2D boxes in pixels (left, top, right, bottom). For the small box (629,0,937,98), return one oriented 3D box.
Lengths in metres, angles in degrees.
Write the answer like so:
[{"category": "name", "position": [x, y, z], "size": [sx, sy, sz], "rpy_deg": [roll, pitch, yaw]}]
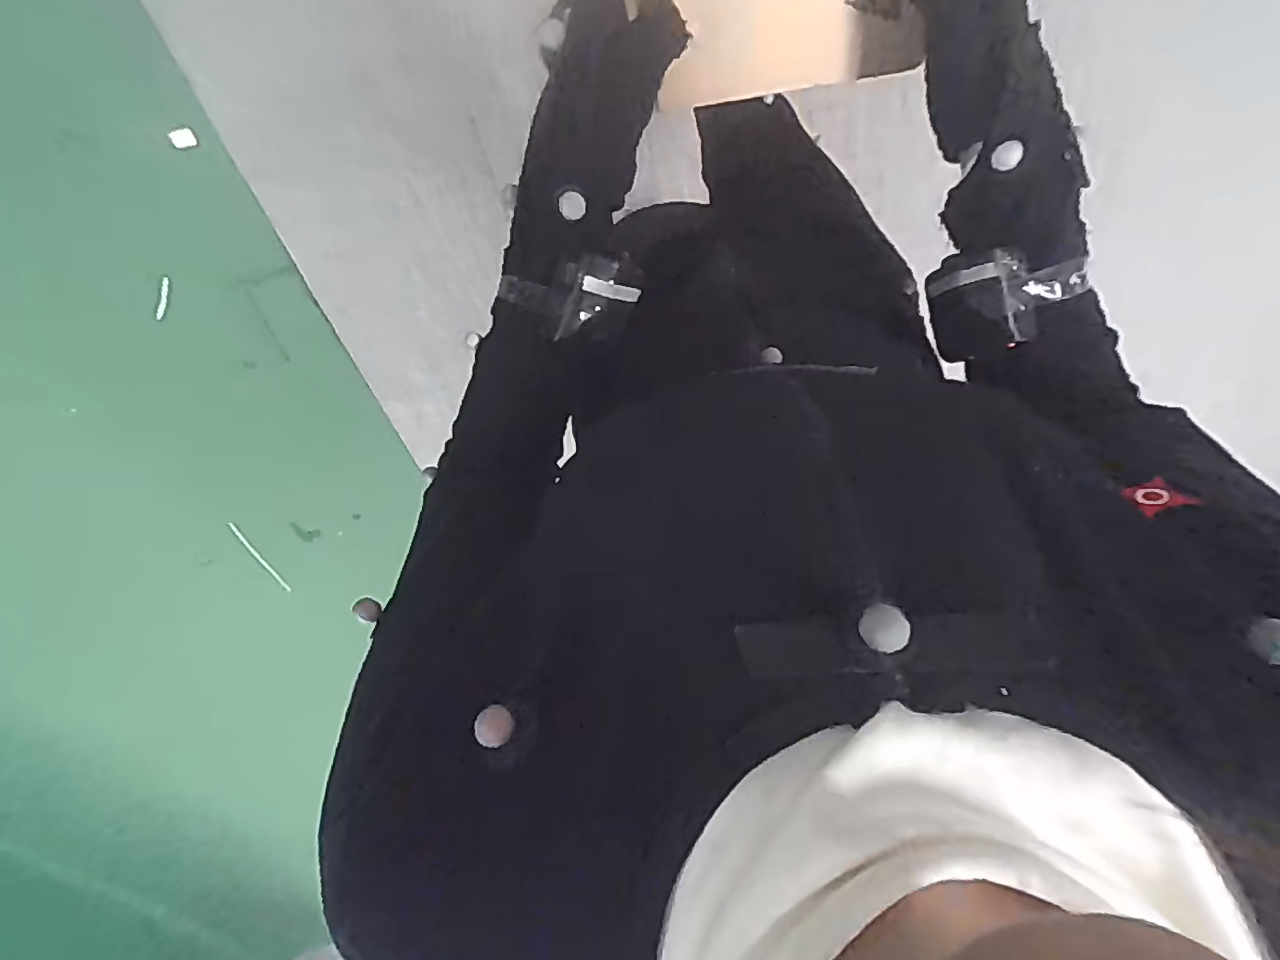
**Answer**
[{"category": "small box", "position": [0.081, -0.374, 0.341], "size": [0.179, 0.176, 0.168], "rpy_deg": [-9, 139, 1]}]
